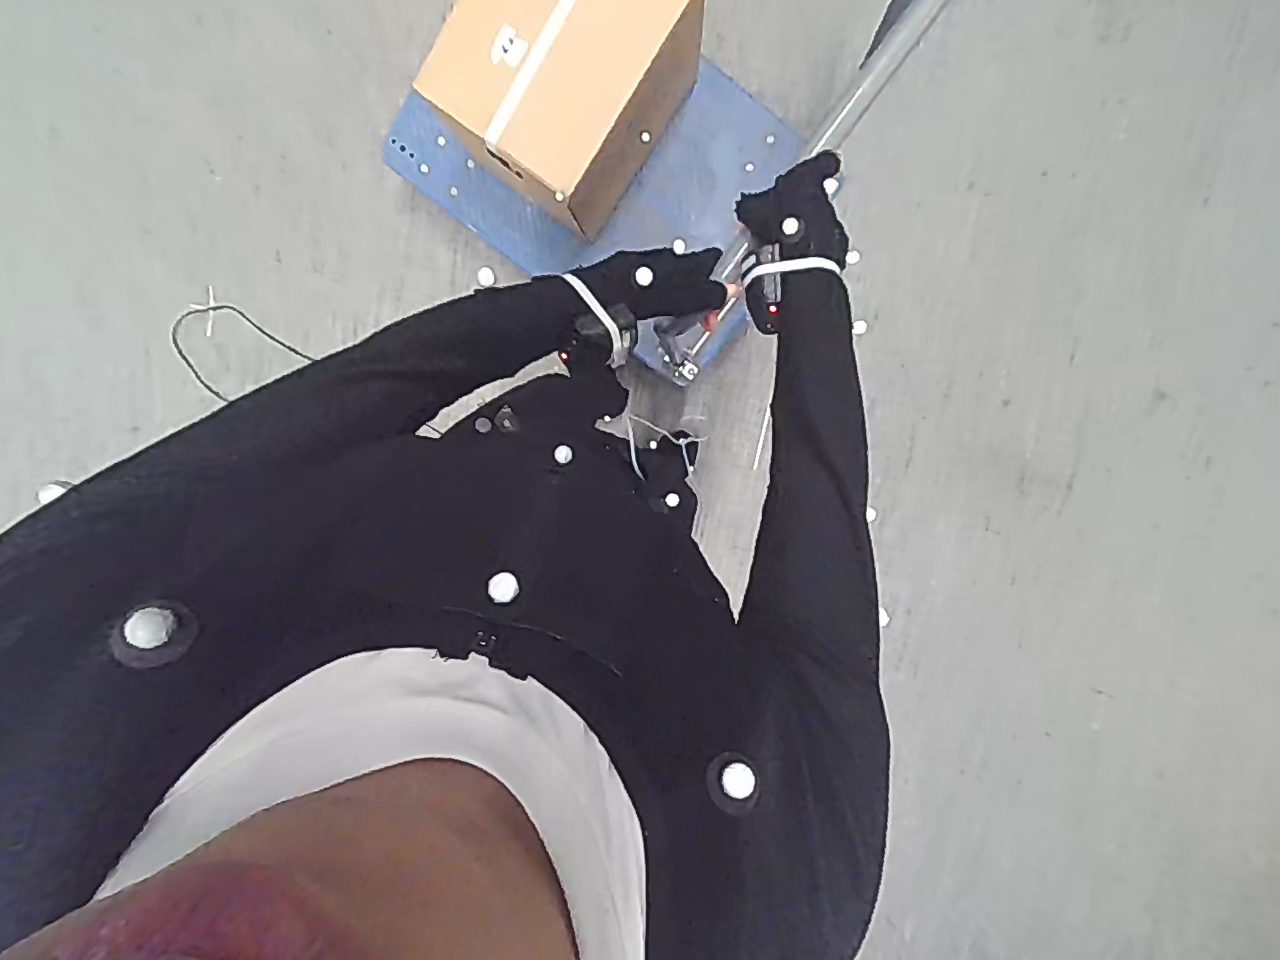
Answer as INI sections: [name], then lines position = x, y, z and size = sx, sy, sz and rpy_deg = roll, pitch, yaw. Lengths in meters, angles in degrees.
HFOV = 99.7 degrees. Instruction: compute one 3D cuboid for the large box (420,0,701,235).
[large box]
position = -0.123, -0.754, 1.011
size = 0.320, 0.320, 0.408
rpy_deg = 35, 101, -3
